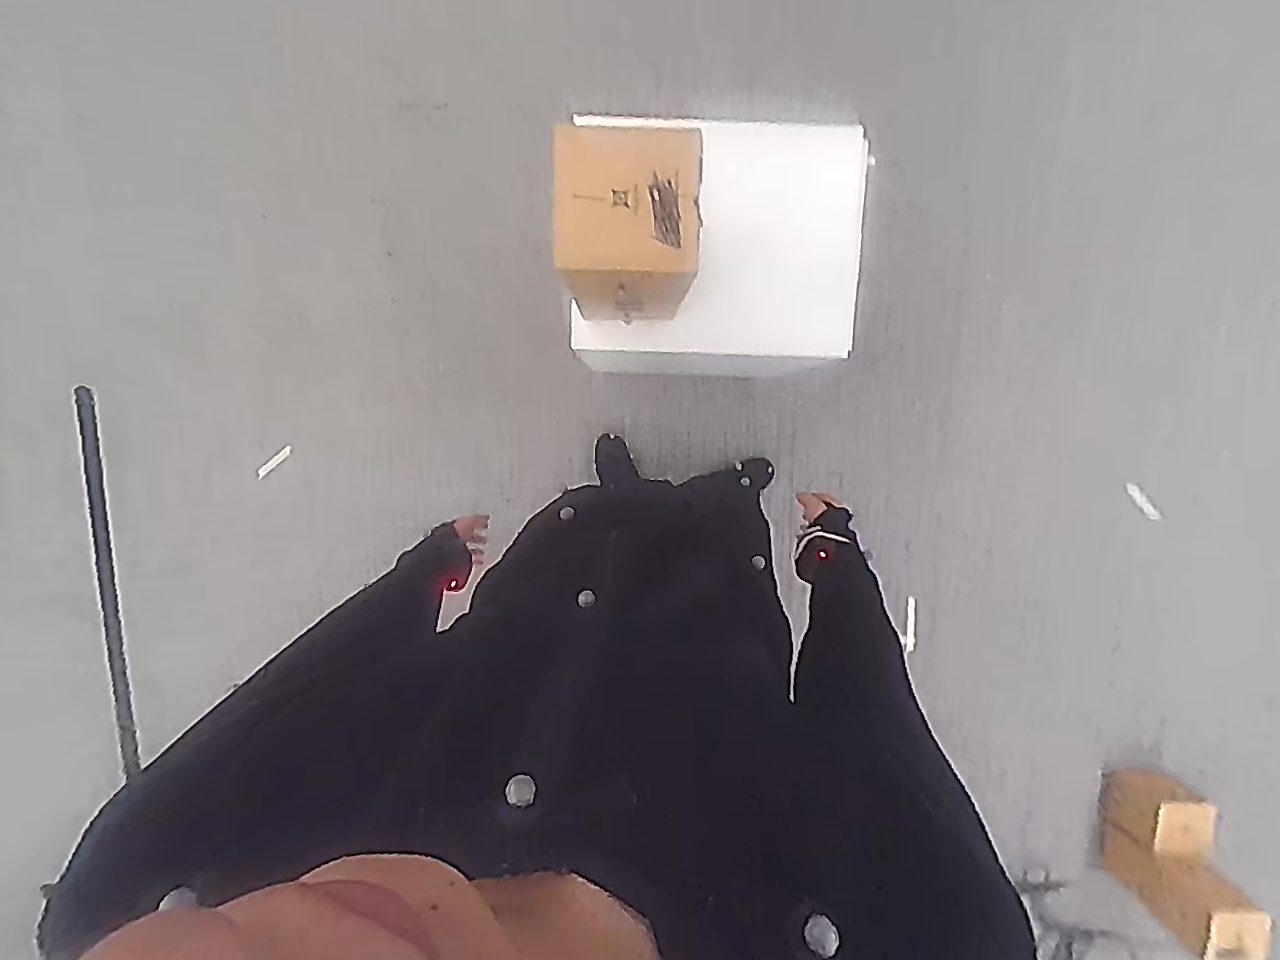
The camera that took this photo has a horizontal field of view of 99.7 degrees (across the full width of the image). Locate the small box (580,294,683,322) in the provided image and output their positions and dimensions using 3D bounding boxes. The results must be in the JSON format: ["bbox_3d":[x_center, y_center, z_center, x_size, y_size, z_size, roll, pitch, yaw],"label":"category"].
[{"bbox_3d":[-0.018,-0.360,0.875,0.168,0.176,0.179,0,98,0],"label":"small box"}]

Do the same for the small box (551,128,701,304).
[{"bbox_3d":[-0.019,-0.333,0.712,0.179,0.176,0.168,1,97,0],"label":"small box"}]
